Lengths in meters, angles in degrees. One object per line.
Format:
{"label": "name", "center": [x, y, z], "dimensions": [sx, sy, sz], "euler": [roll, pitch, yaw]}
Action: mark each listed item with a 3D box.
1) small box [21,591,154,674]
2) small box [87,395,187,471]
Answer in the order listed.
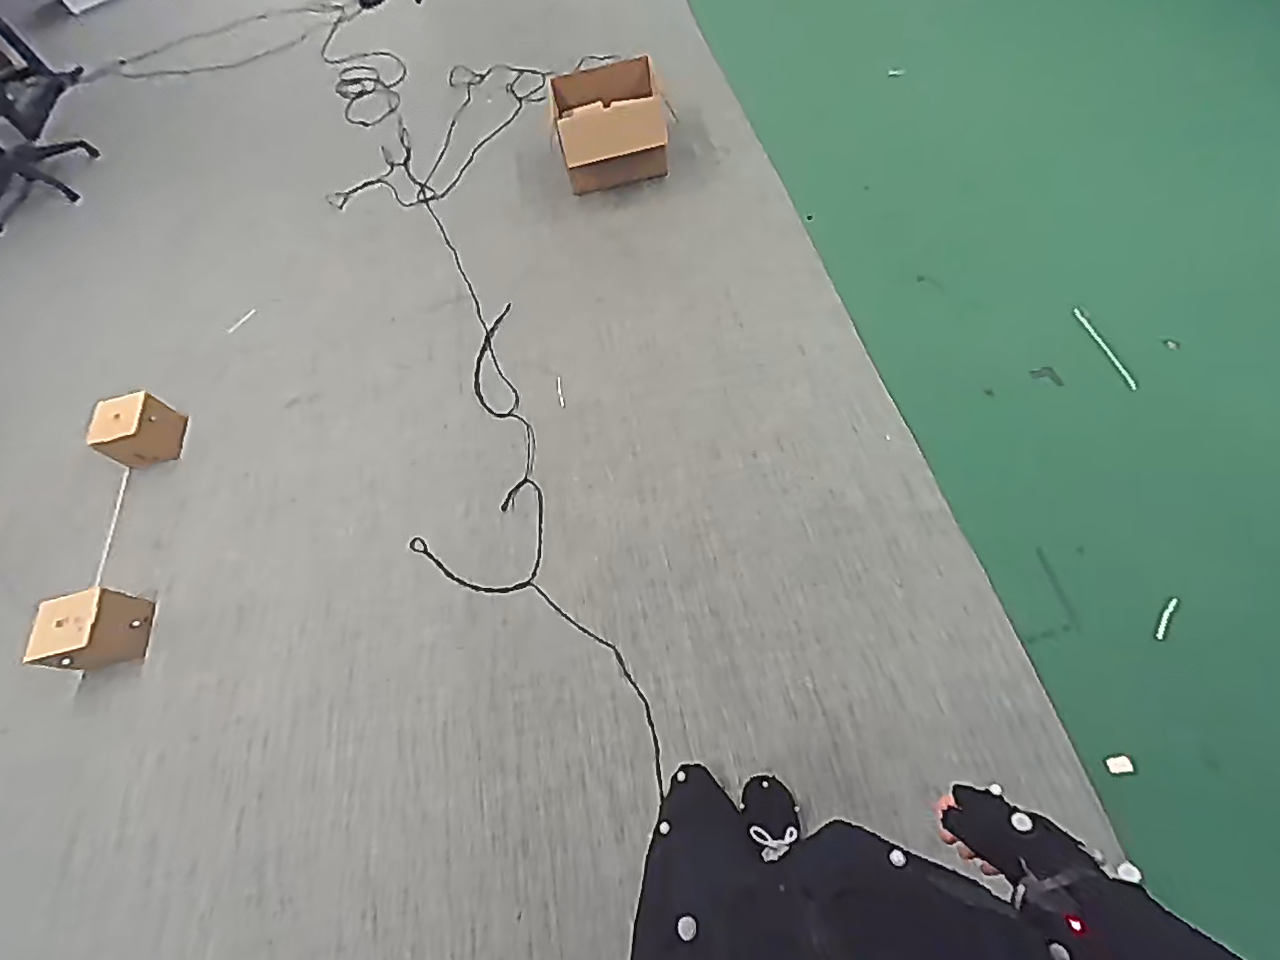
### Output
{"label": "small box", "center": [-1.520, 0.428, 1.500], "dimensions": [0.179, 0.176, 0.168], "euler": [-14, 62, 0]}
{"label": "small box", "center": [-1.683, -0.155, 1.821], "dimensions": [0.168, 0.176, 0.179], "euler": [-14, 63, 0]}
